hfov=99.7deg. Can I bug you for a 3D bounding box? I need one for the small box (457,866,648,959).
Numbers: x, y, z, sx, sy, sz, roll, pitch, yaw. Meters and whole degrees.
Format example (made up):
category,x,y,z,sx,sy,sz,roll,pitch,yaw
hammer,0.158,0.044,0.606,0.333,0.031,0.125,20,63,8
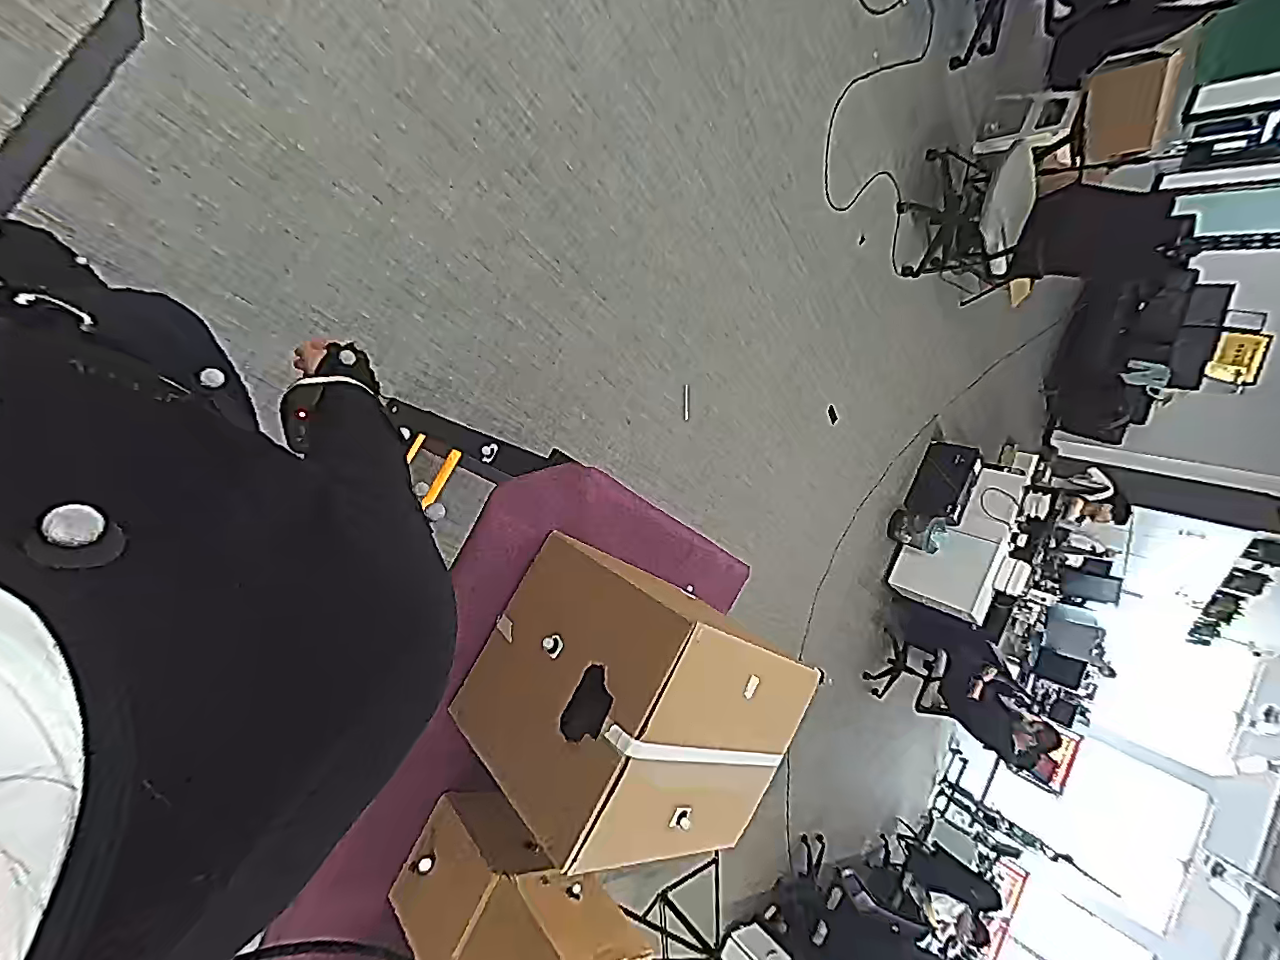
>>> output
category,x,y,z,sx,sy,sz,roll,pitch,yaw
small box,-0.128,0.656,0.711,0.168,0.176,0.179,36,78,-45
